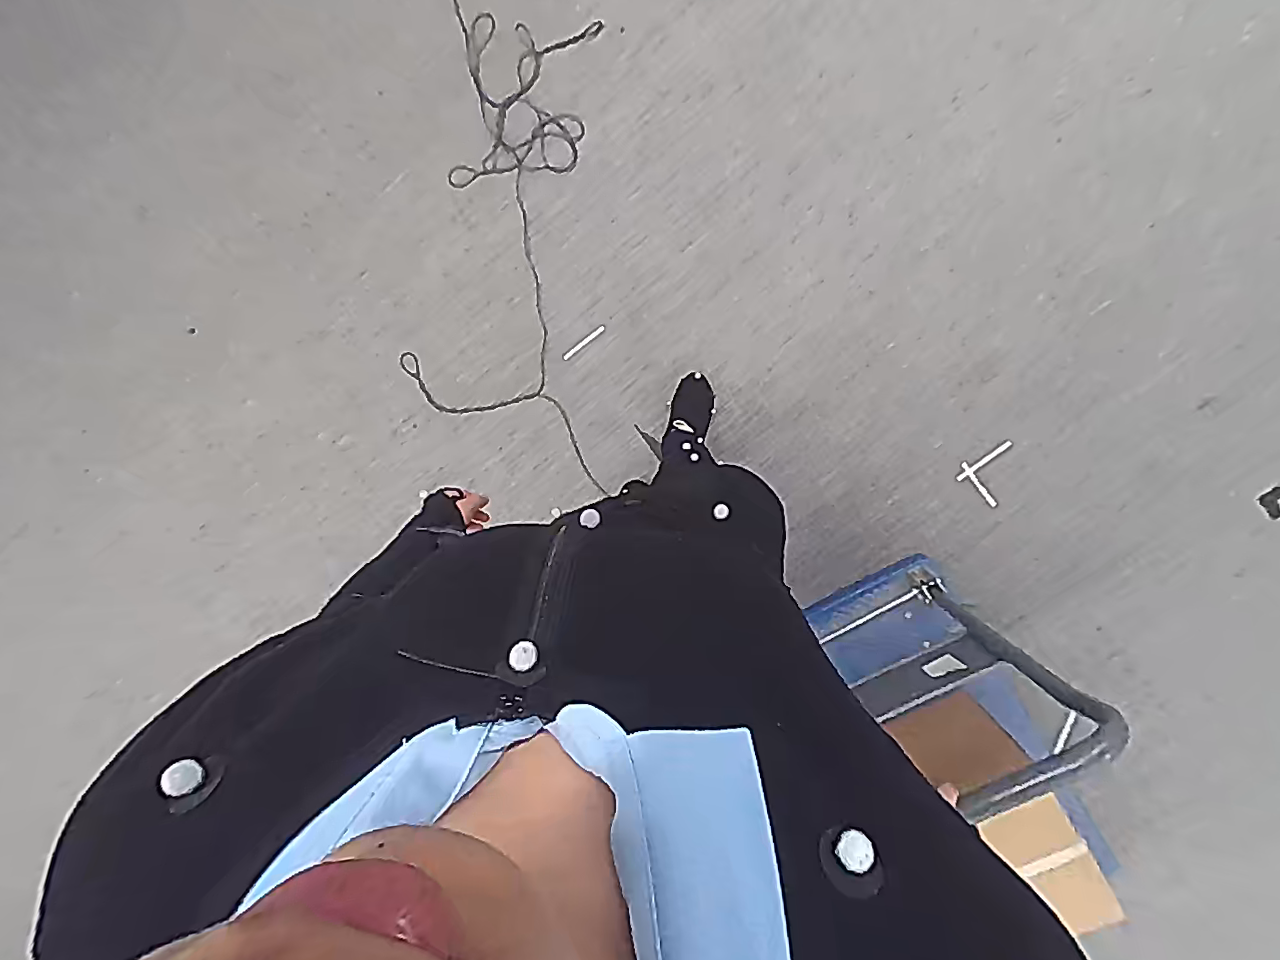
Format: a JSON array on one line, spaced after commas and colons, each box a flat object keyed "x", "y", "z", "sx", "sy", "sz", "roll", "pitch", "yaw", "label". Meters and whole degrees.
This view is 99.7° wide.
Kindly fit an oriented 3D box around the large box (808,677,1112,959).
[{"x": 0.639, "y": 0.702, "z": 1.163, "sx": 0.408, "sy": 0.320, "sz": 0.320, "roll": -31, "pitch": 92, "yaw": 8, "label": "large box"}]
